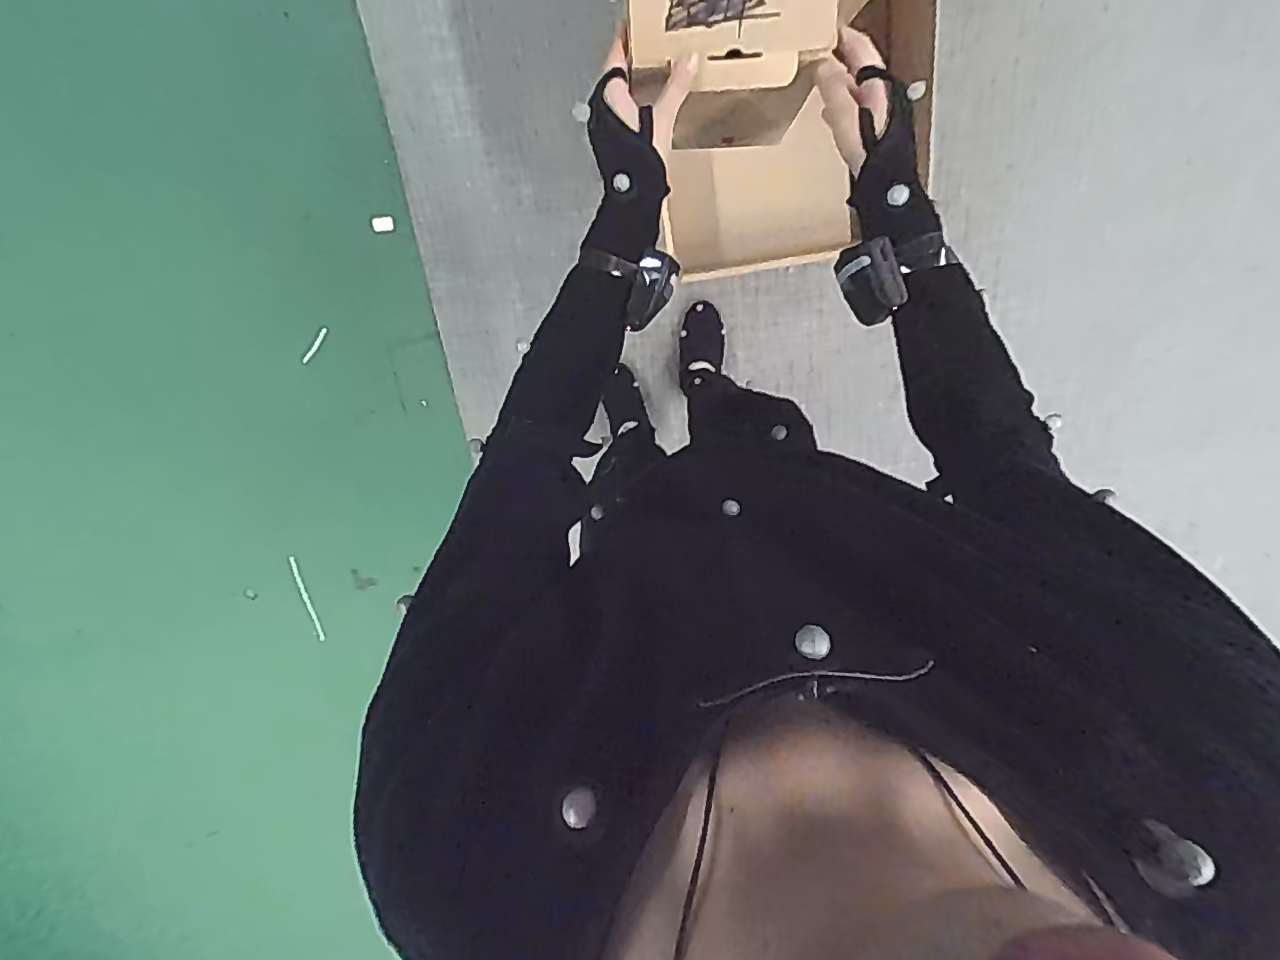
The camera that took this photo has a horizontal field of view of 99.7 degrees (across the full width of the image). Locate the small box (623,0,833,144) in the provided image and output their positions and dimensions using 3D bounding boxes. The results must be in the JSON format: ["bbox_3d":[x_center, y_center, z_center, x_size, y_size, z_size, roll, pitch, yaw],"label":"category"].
[{"bbox_3d":[0.068,-0.430,0.493,0.168,0.176,0.179,-2,98,-1],"label":"small box"}]
